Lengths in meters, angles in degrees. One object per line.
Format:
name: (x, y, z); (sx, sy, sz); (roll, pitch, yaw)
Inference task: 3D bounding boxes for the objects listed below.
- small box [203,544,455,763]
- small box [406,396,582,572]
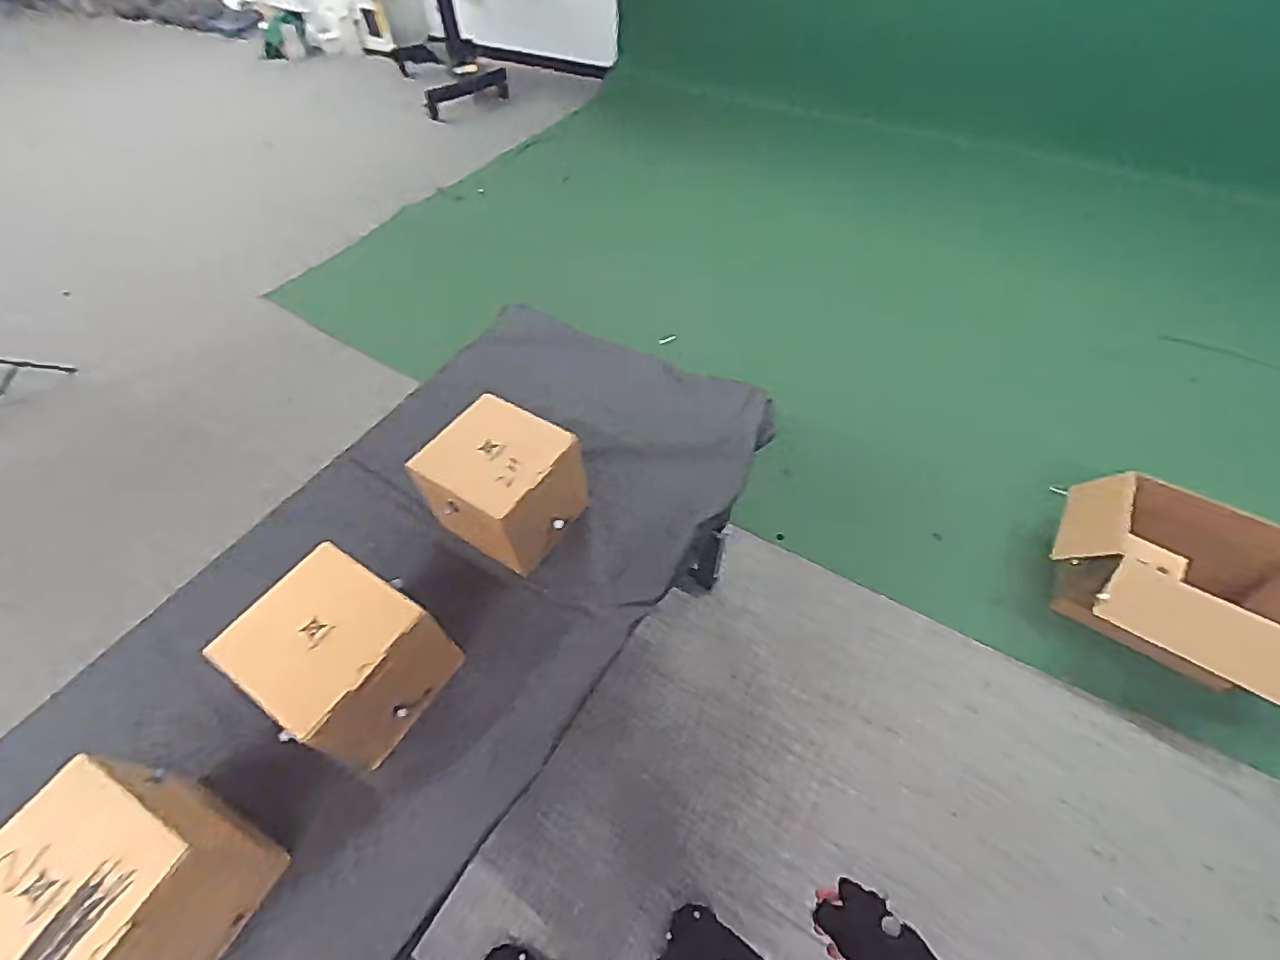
small box: (-0.362, 0.217, 0.663); (0.179, 0.176, 0.168); (27, 58, 18)
small box: (-0.206, 0.010, 0.813); (0.179, 0.176, 0.168); (27, 58, 19)
